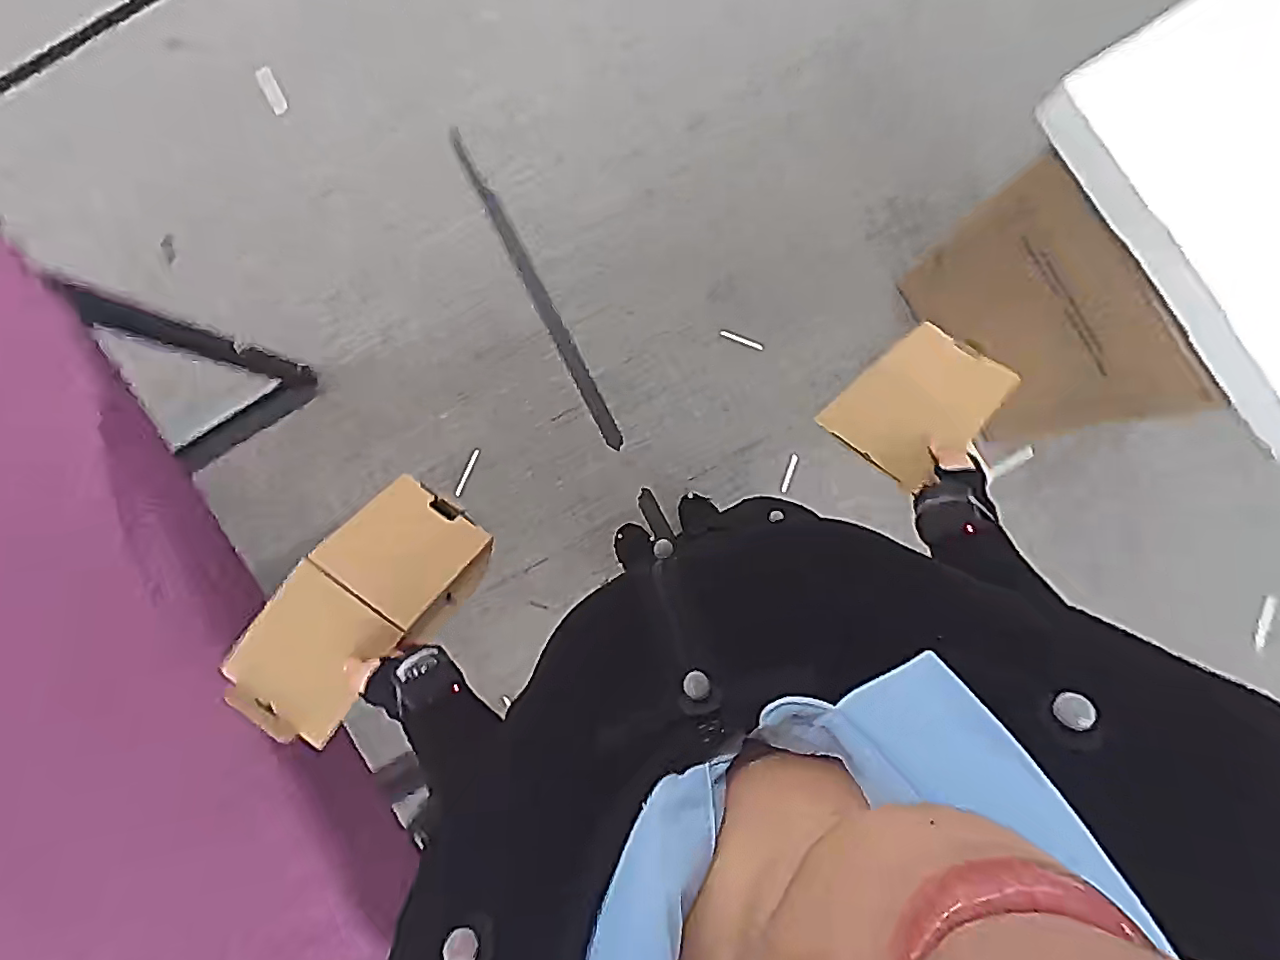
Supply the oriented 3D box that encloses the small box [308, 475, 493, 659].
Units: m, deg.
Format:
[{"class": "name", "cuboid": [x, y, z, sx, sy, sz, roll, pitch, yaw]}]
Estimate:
[{"class": "small box", "cuboid": [-0.338, 0.134, 0.795, 0.168, 0.176, 0.179, 36, 54, 4]}]
